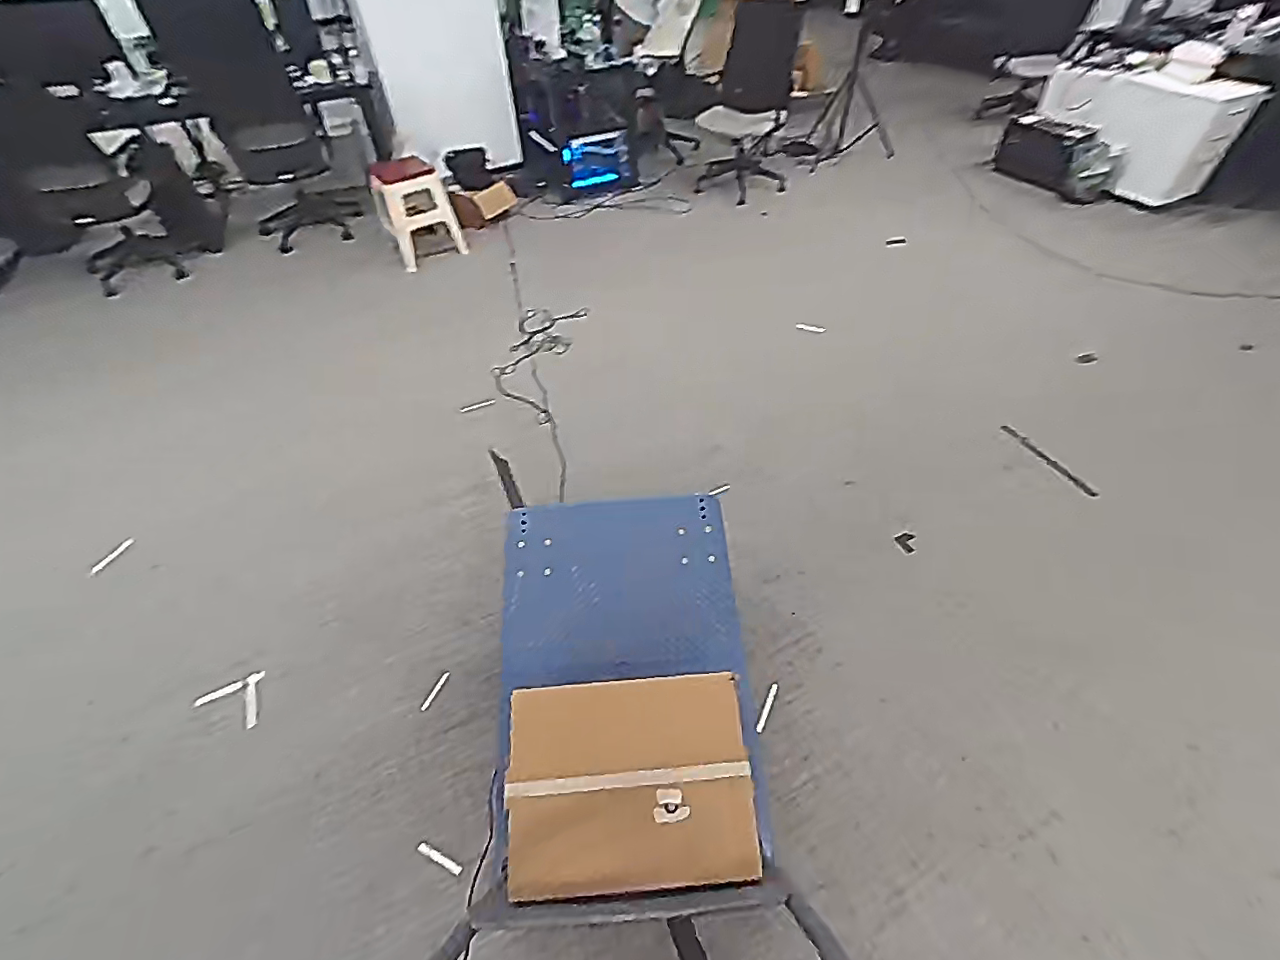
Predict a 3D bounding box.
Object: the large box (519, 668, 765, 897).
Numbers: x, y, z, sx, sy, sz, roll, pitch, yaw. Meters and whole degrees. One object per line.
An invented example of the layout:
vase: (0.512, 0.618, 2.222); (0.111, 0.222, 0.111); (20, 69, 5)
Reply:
large box: (-0.009, 0.572, 1.062); (0.408, 0.320, 0.320); (-5, 64, -2)
